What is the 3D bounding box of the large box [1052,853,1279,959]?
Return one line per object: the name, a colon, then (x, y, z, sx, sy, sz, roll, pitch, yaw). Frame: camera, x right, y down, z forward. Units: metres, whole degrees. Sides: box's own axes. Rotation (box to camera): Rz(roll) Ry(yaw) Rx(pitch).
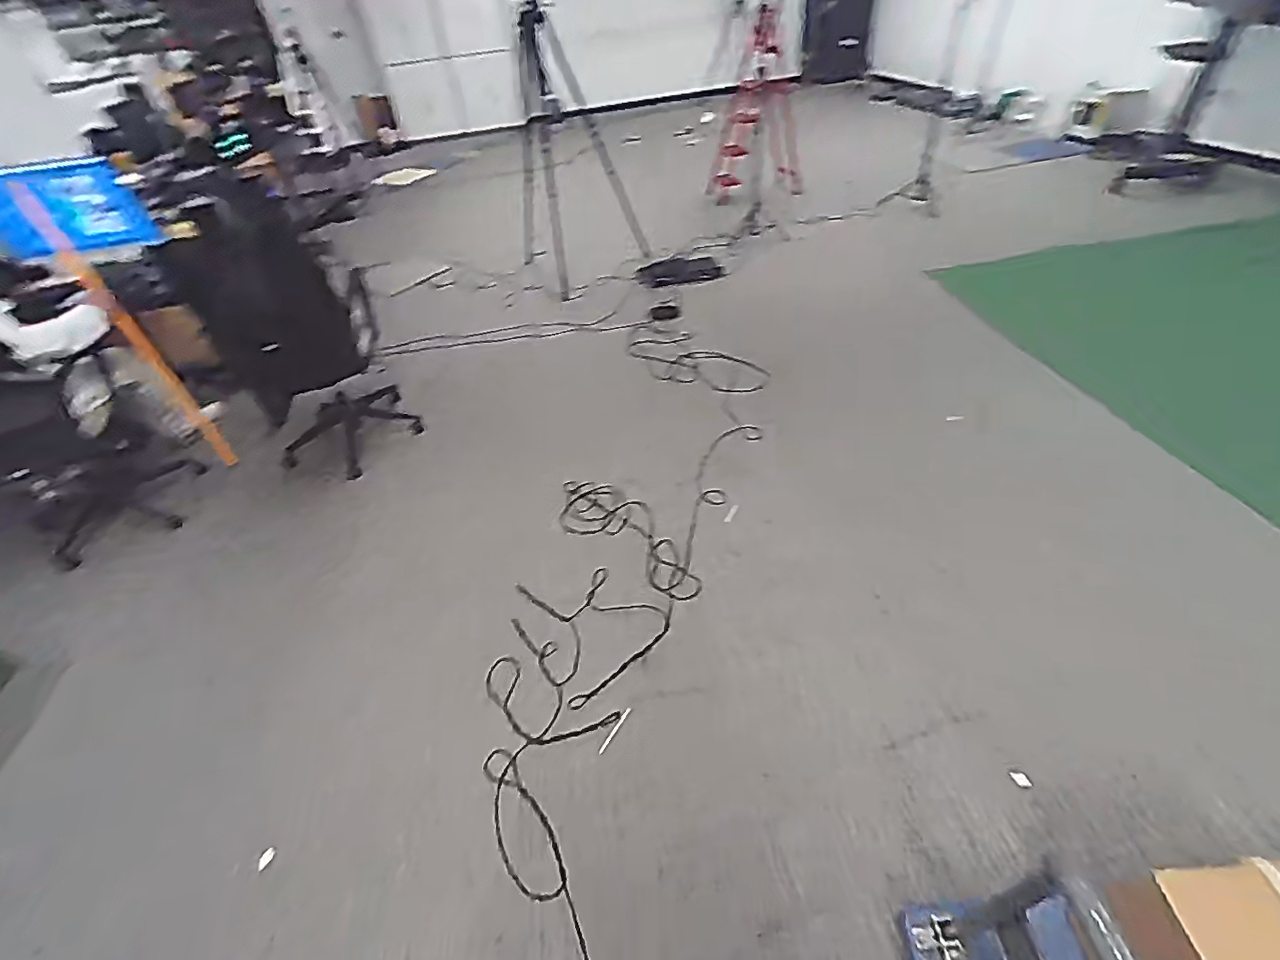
large box: (0.909, 0.804, 0.765, 0.320, 0.320, 0.408, -6, 43, 3)
